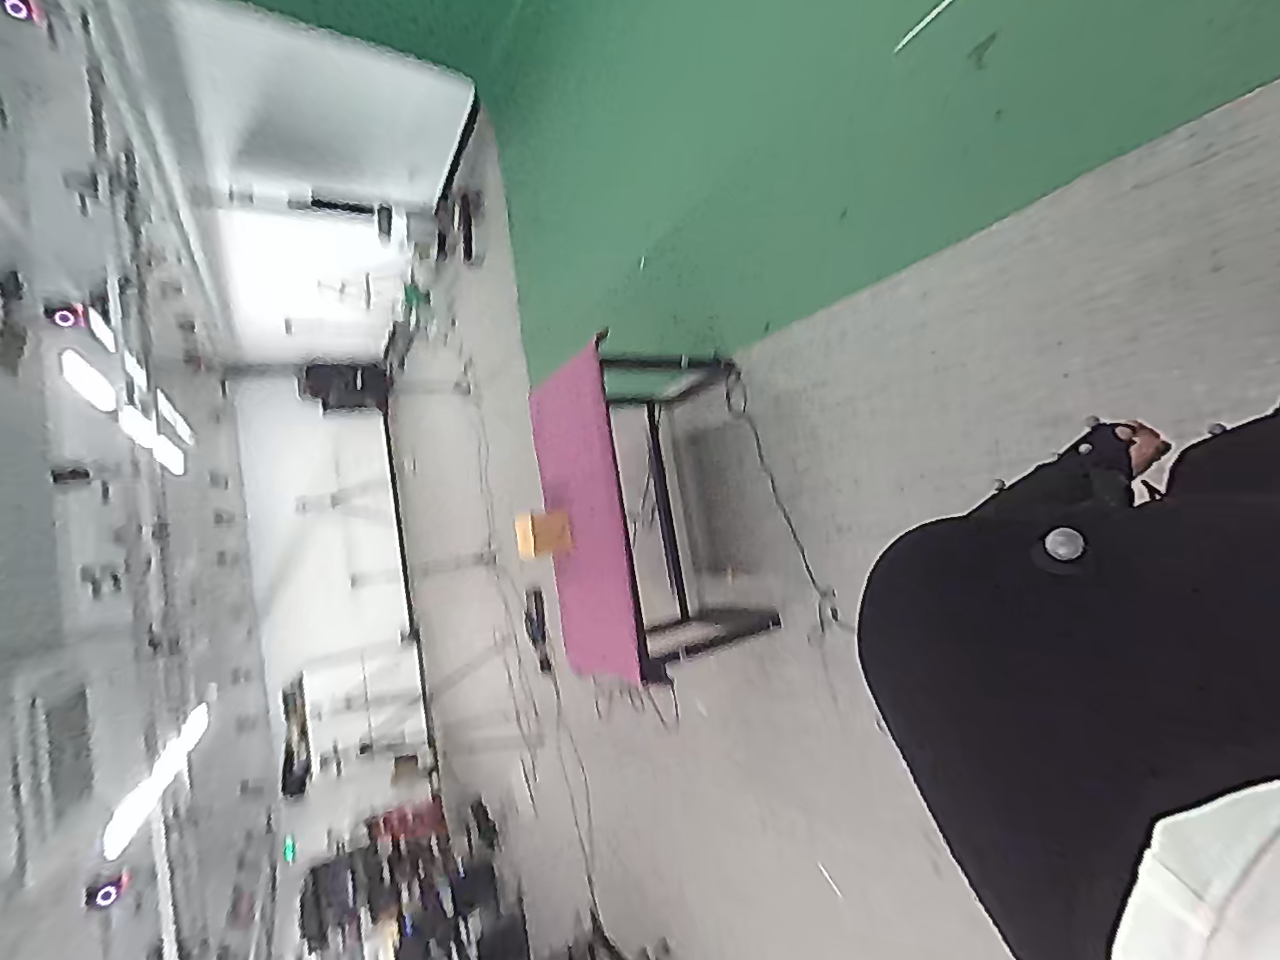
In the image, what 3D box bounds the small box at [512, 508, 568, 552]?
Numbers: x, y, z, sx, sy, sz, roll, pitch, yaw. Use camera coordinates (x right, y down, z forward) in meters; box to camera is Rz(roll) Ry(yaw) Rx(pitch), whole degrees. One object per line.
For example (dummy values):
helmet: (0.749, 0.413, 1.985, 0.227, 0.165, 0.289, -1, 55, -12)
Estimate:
small box: (-0.414, 0.208, 2.244, 0.179, 0.176, 0.168, -11, 85, 55)
